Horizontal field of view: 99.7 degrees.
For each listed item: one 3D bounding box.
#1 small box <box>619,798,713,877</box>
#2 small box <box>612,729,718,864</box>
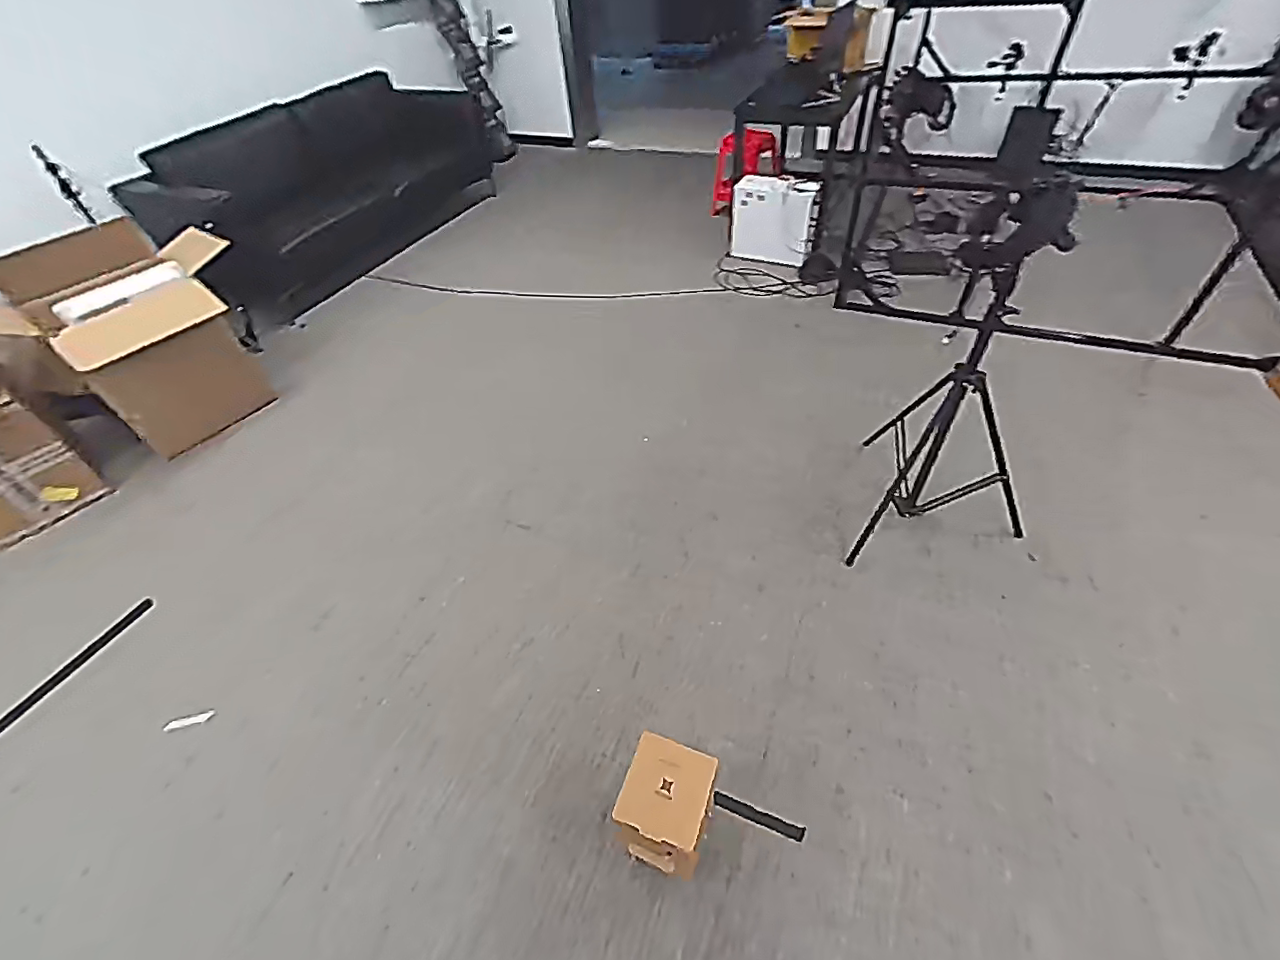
[{"bbox_3d":[0.067,0.768,1.234,0.168,0.176,0.179,14,49,18],"label":"small box"},{"bbox_3d":[0.058,0.656,1.116,0.168,0.176,0.179,14,49,17],"label":"small box"}]
